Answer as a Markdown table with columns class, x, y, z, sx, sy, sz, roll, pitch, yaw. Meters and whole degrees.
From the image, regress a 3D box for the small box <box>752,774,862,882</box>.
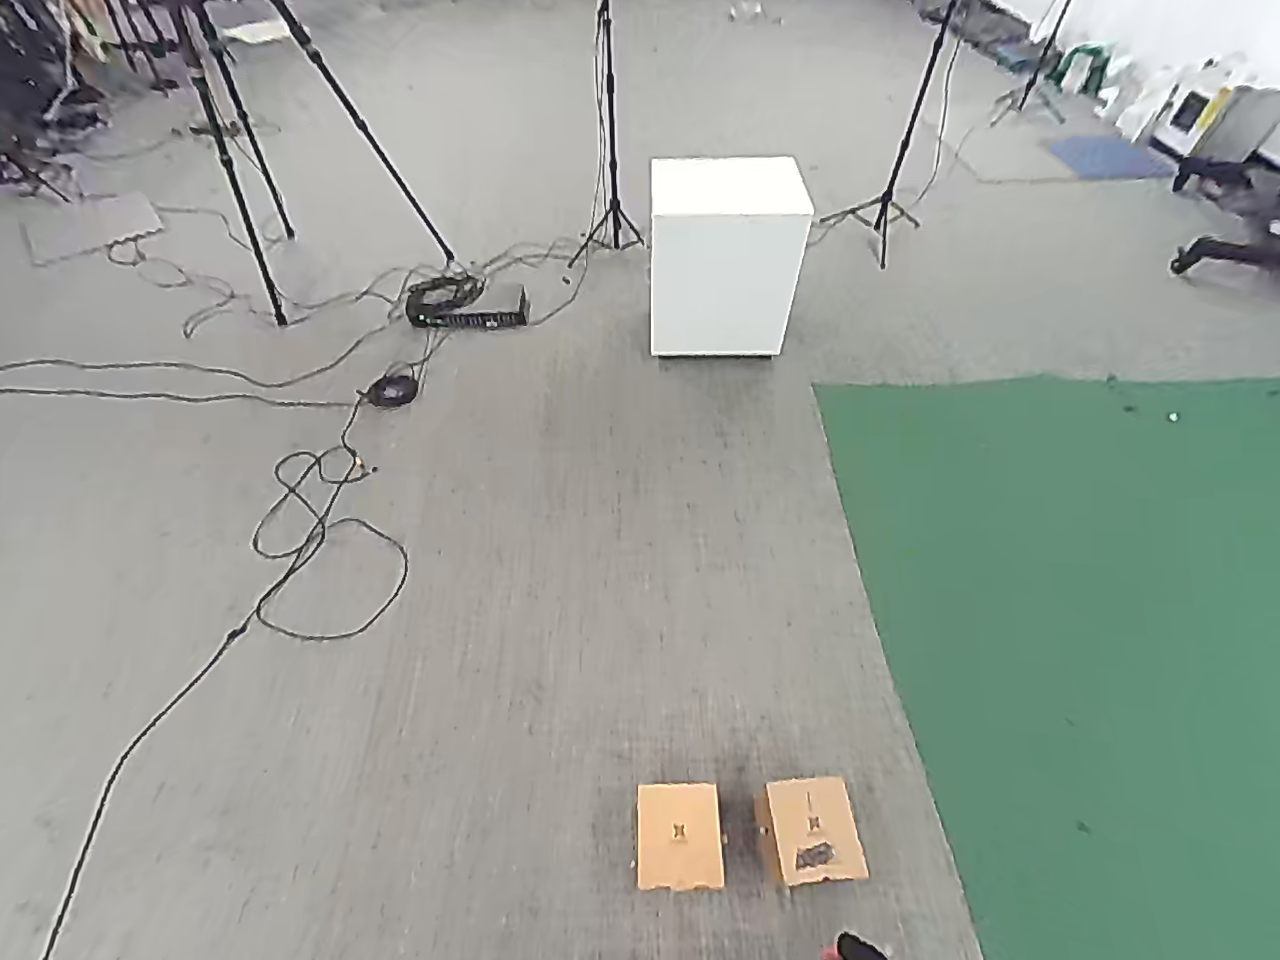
| class | x | y | z | sx | sy | sz | roll | pitch | yaw |
| --- | --- | --- | --- | --- | --- | --- | --- | --- | --- |
| small box | 0.341 | 0.734 | 1.140 | 0.168 | 0.176 | 0.179 | -3 | 52 | -2 |

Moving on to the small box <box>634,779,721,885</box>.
| class | x | y | z | sx | sy | sz | roll | pitch | yaw |
| --- | --- | --- | --- | --- | --- | --- | --- | --- | --- |
| small box | 0.072 | 0.741 | 1.137 | 0.168 | 0.176 | 0.179 | 0 | 53 | 0 |
